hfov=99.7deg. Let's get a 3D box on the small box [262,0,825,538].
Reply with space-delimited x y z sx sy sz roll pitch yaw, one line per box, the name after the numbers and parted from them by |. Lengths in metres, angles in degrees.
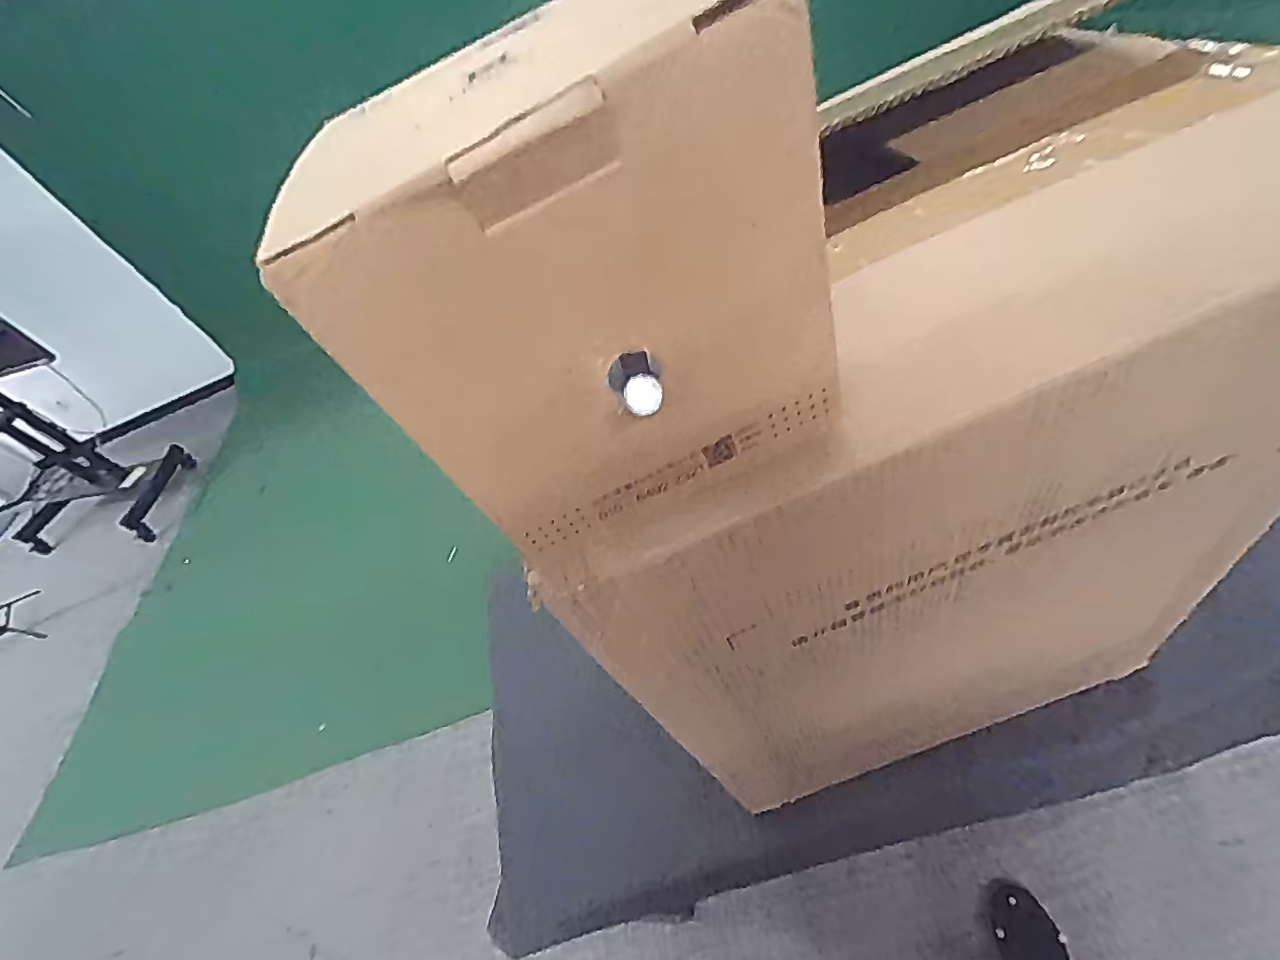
-0.029 -0.095 0.260 0.168 0.176 0.179 -26 47 3 | small box
